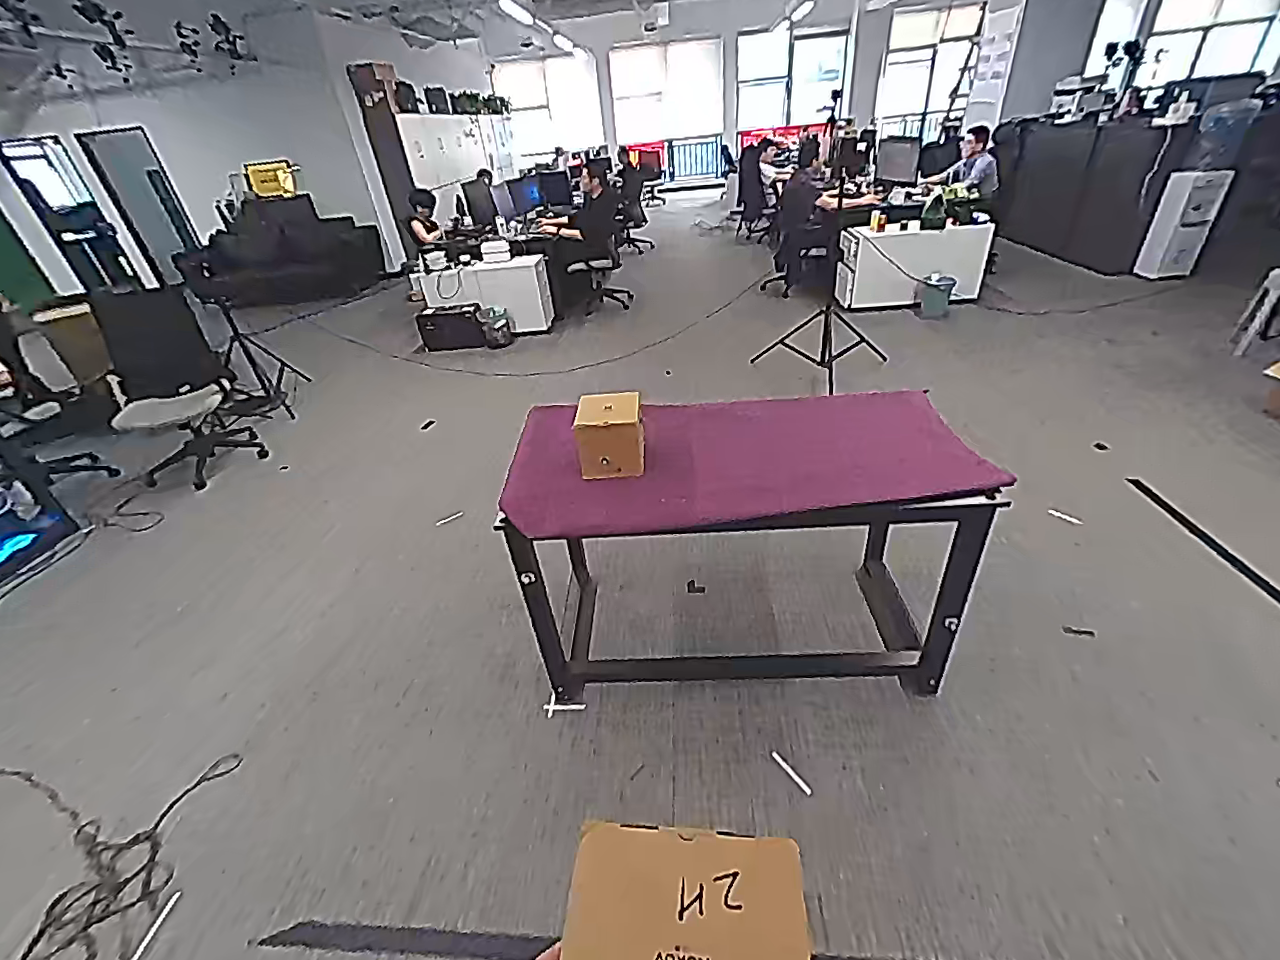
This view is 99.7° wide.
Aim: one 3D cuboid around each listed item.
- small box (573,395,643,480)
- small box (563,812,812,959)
[{"bbox_3d":[-0.082,-0.117,1.480,0.168,0.176,0.179,-3,35,3],"label":"small box"},{"bbox_3d":[0.035,0.379,0.400,0.168,0.176,0.179,1,40,6],"label":"small box"}]
